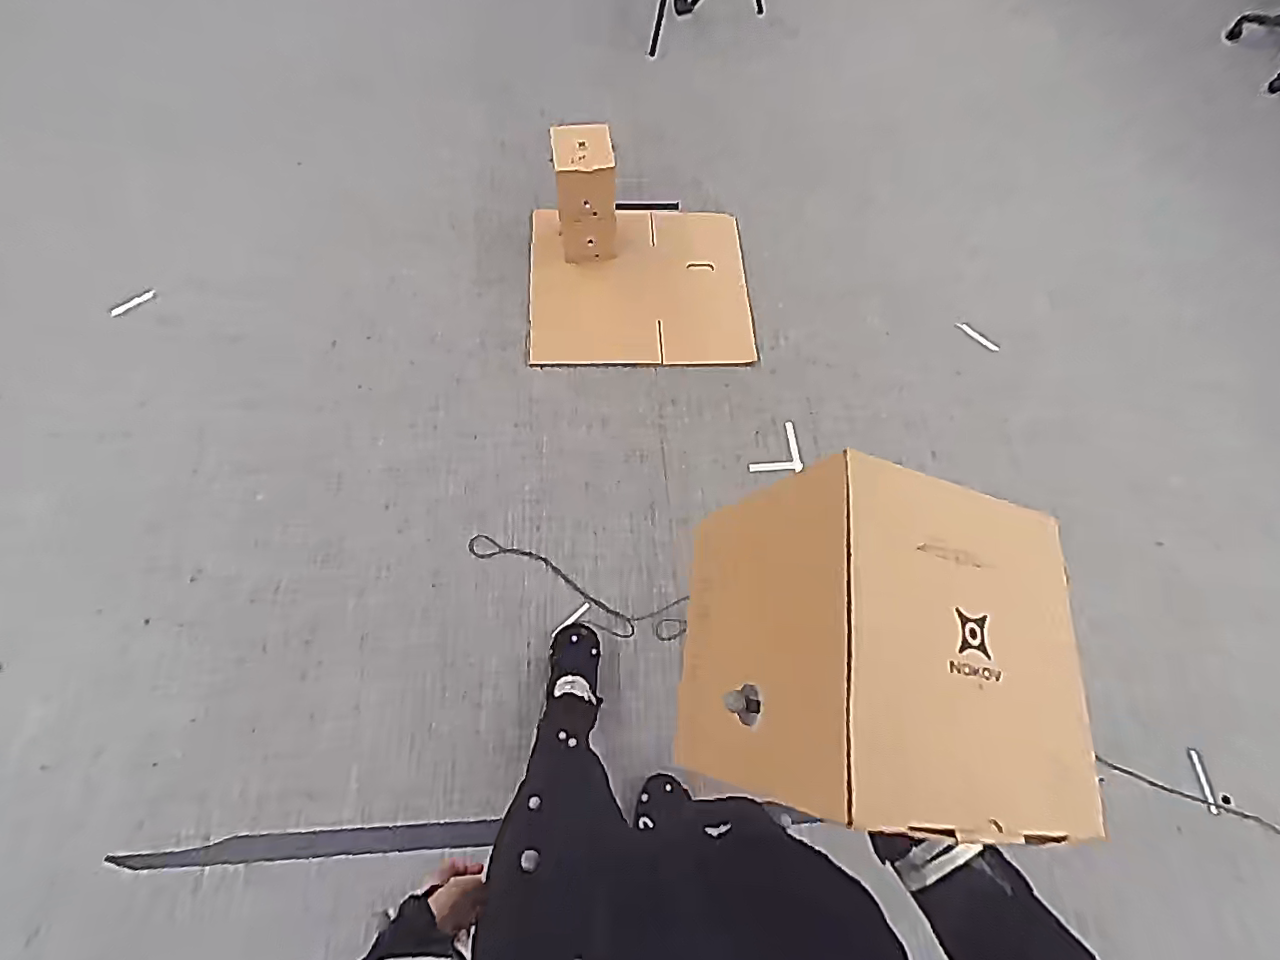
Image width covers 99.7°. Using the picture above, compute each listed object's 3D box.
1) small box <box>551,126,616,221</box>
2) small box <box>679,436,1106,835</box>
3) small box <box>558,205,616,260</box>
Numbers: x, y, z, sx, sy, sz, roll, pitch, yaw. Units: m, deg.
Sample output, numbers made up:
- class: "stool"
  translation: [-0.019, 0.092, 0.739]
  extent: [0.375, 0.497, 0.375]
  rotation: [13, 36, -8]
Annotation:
- class: "small box"
  translation: [-0.162, -0.878, 1.554]
  extent: [0.168, 0.176, 0.179]
  rotation: [-7, 69, -6]
- class: "small box"
  translation: [0.137, 0.100, 0.345]
  extent: [0.168, 0.176, 0.179]
  rotation: [16, 66, -19]
- class: "small box"
  translation: [-0.169, -0.817, 1.707]
  extent: [0.168, 0.176, 0.179]
  rotation: [-8, 70, -7]
